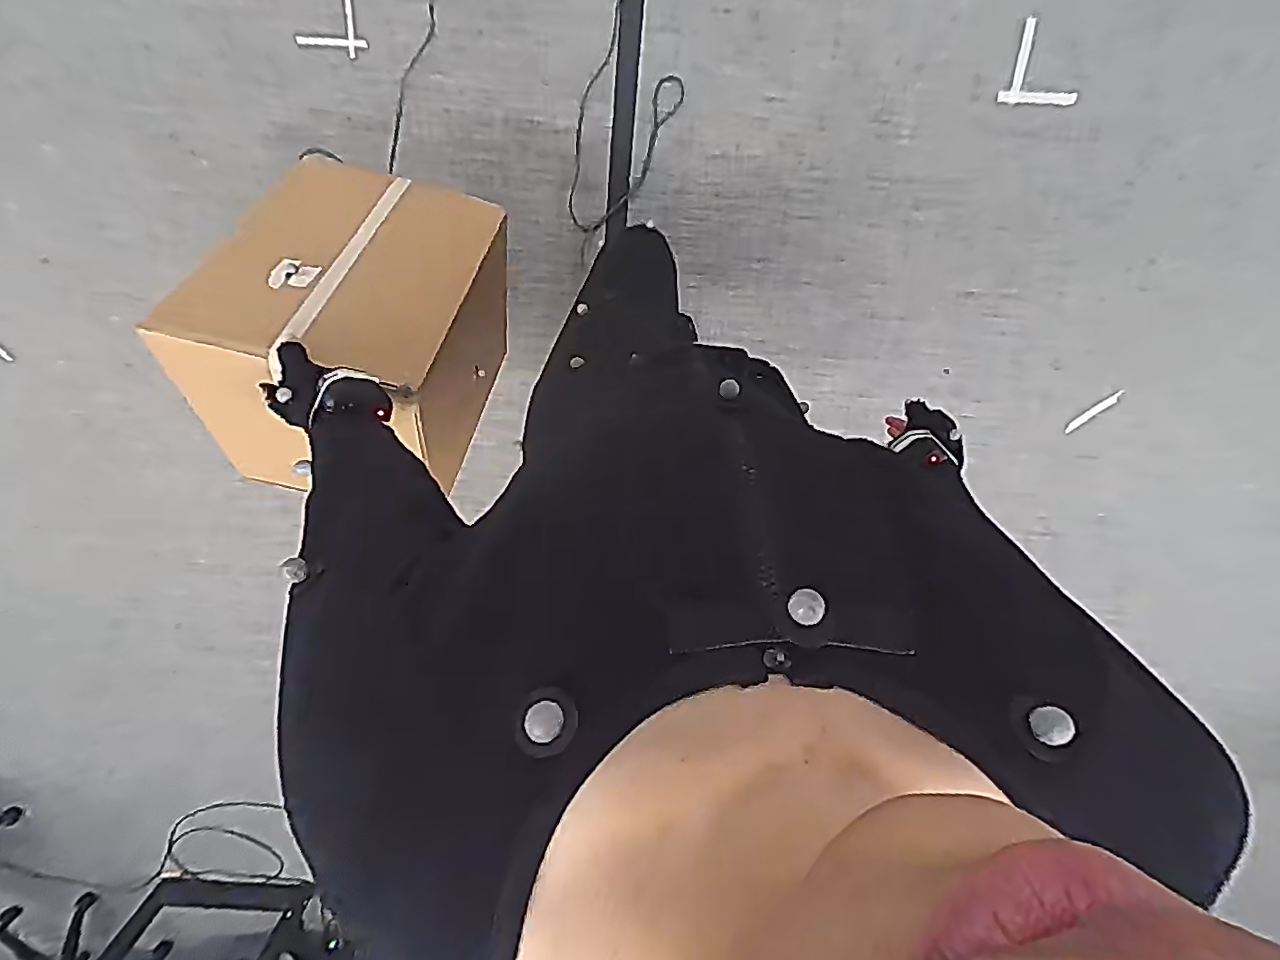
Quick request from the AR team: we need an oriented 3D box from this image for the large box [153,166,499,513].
[{"bbox_3d":[-0.427,-0.215,0.871,0.320,0.408,0.320,12,147,-5],"label":"large box"}]
